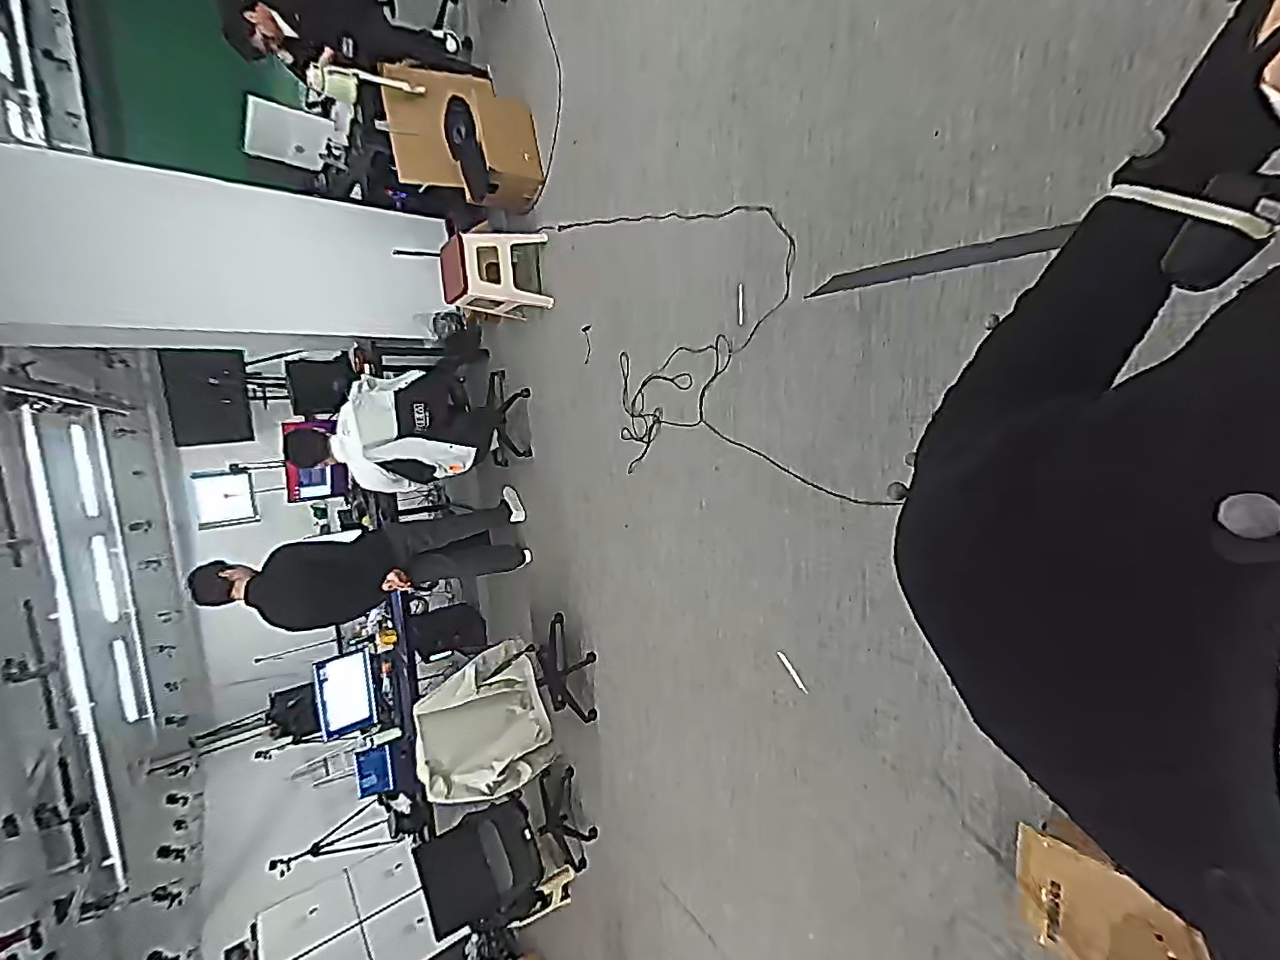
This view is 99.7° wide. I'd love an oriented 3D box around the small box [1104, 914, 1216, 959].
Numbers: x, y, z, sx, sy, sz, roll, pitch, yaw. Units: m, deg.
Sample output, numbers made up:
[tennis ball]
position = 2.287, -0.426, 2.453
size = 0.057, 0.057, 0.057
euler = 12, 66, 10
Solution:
[small box]
position = 1.041, 1.034, 1.071
size = 0.168, 0.176, 0.179
euler = 7, 103, 52
